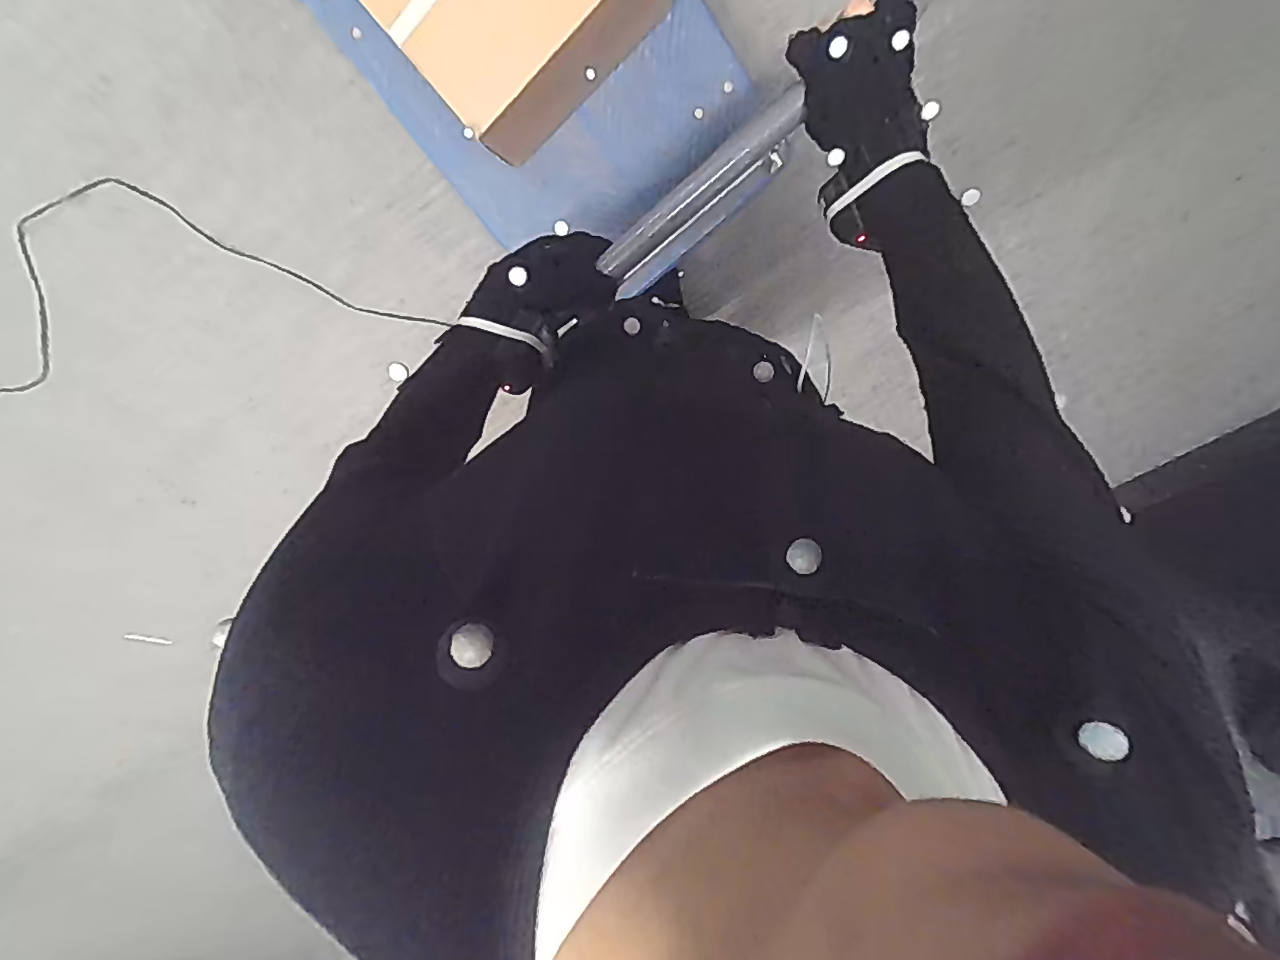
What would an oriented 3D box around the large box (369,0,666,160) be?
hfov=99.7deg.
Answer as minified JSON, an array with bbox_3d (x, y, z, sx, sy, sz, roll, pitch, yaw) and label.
[{"bbox_3d":[-0.187,-0.808,0.862,0.408,0.320,0.320,-39,107,15],"label":"large box"}]
